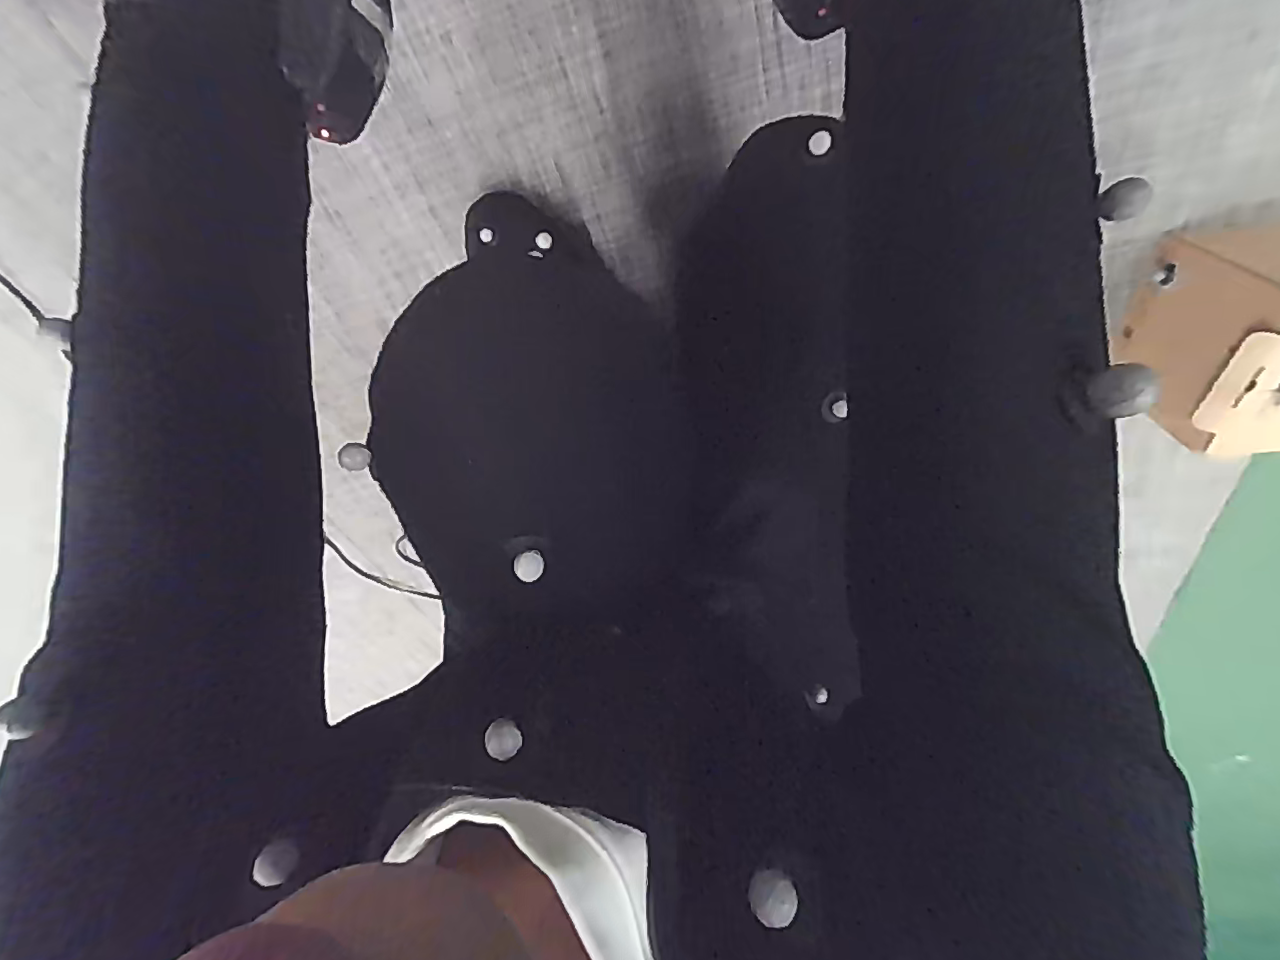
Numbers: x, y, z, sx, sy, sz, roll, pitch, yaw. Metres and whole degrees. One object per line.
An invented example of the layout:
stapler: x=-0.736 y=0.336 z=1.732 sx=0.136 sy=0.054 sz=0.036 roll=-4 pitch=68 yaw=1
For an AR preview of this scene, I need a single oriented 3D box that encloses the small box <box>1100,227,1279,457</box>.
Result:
small box: x=0.628 y=-0.143 z=0.543 sx=0.179 sy=0.176 sz=0.168 roll=-5 pitch=132 yaw=5
